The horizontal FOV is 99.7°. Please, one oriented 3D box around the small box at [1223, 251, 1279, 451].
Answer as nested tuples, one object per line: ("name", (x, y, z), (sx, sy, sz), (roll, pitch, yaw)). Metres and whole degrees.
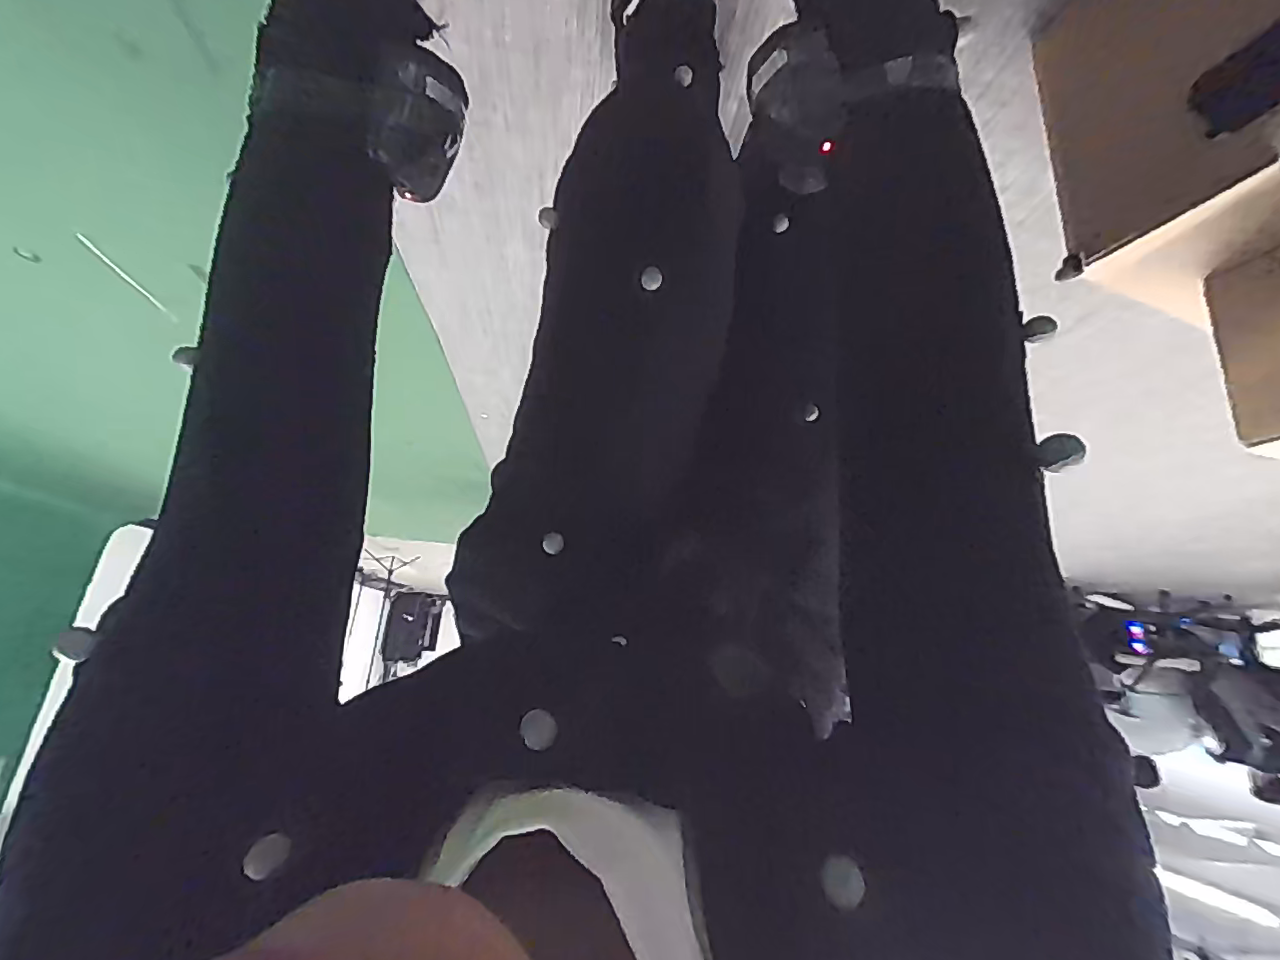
("small box", (0.629, -0.117, 0.427), (0.179, 0.176, 0.168), (10, 164, -12))
